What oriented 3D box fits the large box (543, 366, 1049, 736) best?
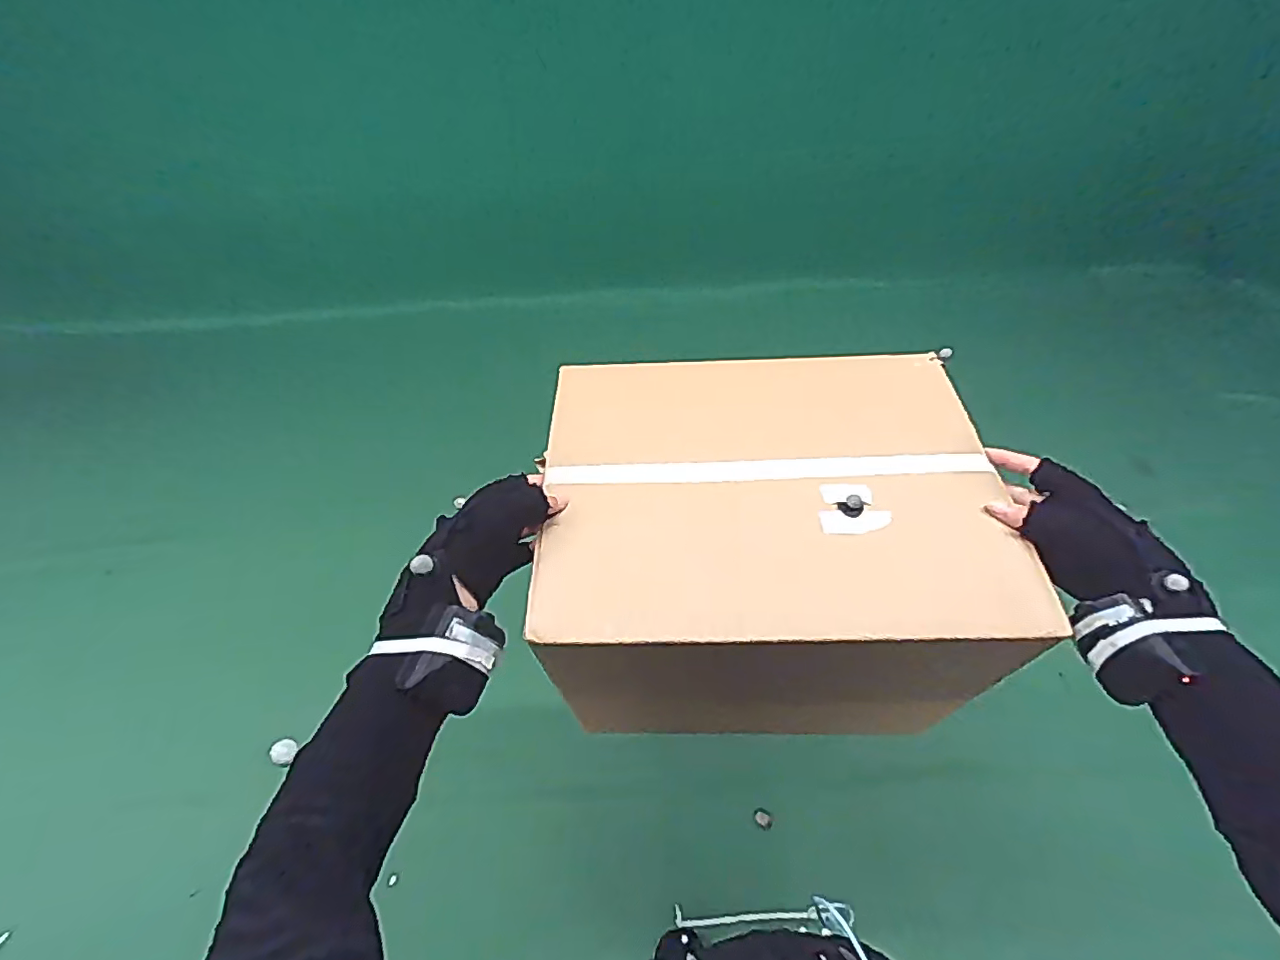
[{"bbox_3d":[0.122,0.092,0.627,0.408,0.320,0.320,-1,53,2],"label":"large box"}]
